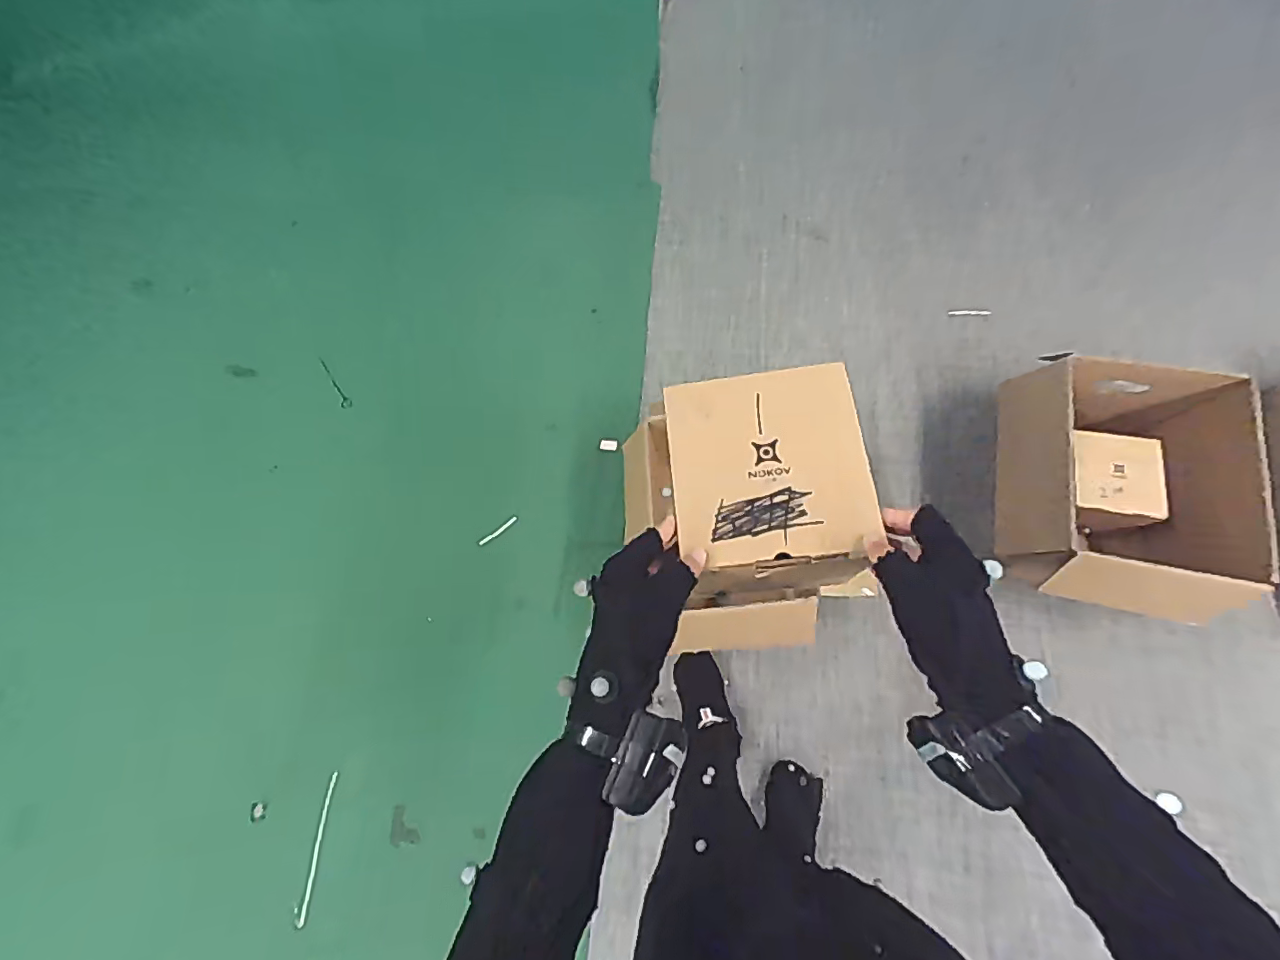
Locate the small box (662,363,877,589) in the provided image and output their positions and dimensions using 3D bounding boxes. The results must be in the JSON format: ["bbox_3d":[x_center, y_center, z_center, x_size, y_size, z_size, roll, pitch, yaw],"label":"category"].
[{"bbox_3d":[0.118,0.011,0.543,0.168,0.176,0.179,-7,69,7],"label":"small box"}]
